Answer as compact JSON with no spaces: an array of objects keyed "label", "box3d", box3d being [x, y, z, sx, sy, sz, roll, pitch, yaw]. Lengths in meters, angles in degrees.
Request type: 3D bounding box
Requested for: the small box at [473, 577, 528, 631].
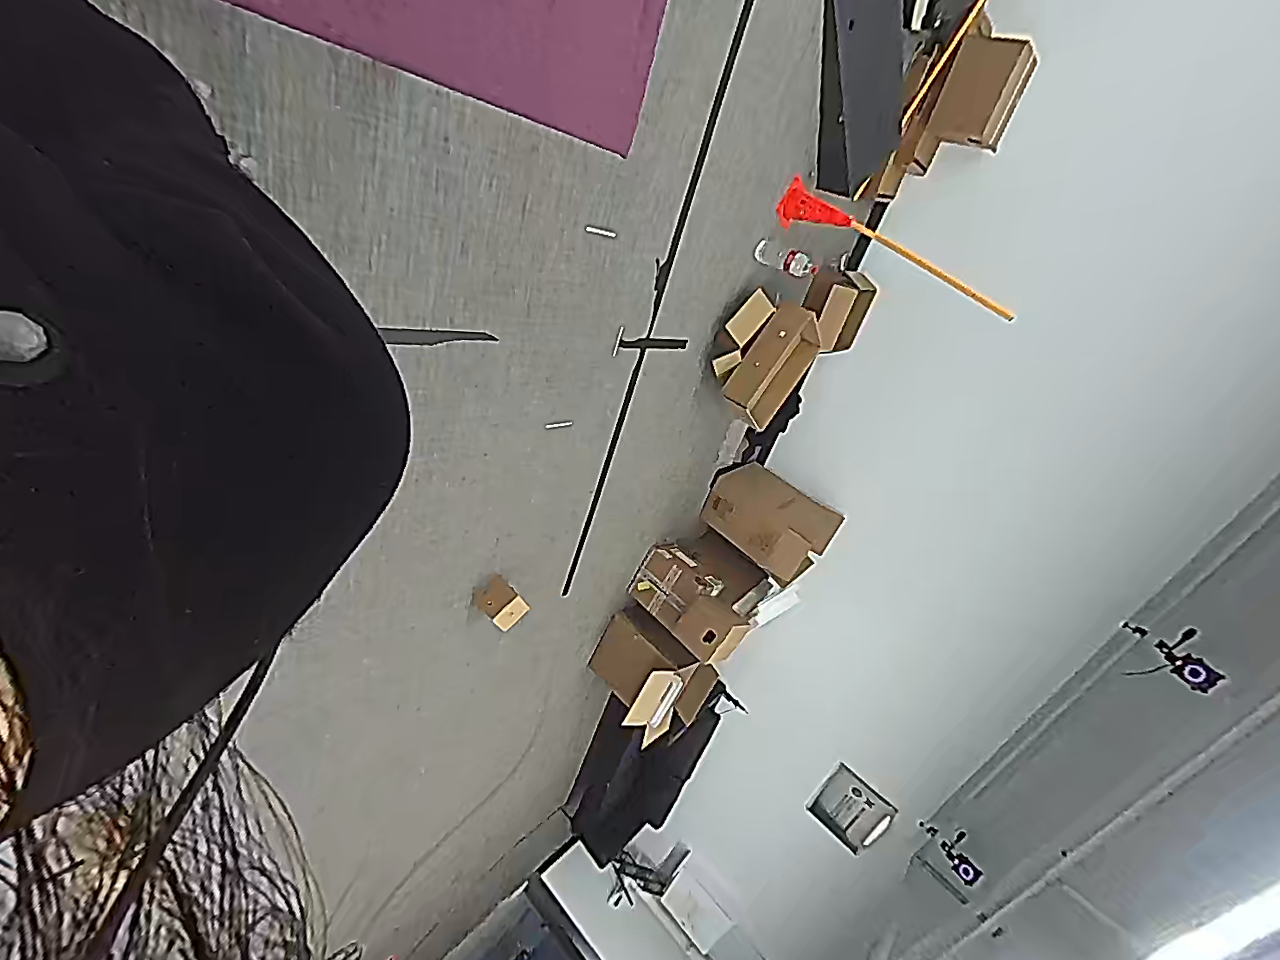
[{"label":"small box","box3d":[-0.680,0.598,2.627,0.168,0.176,0.179,-43,151,-18]}]
